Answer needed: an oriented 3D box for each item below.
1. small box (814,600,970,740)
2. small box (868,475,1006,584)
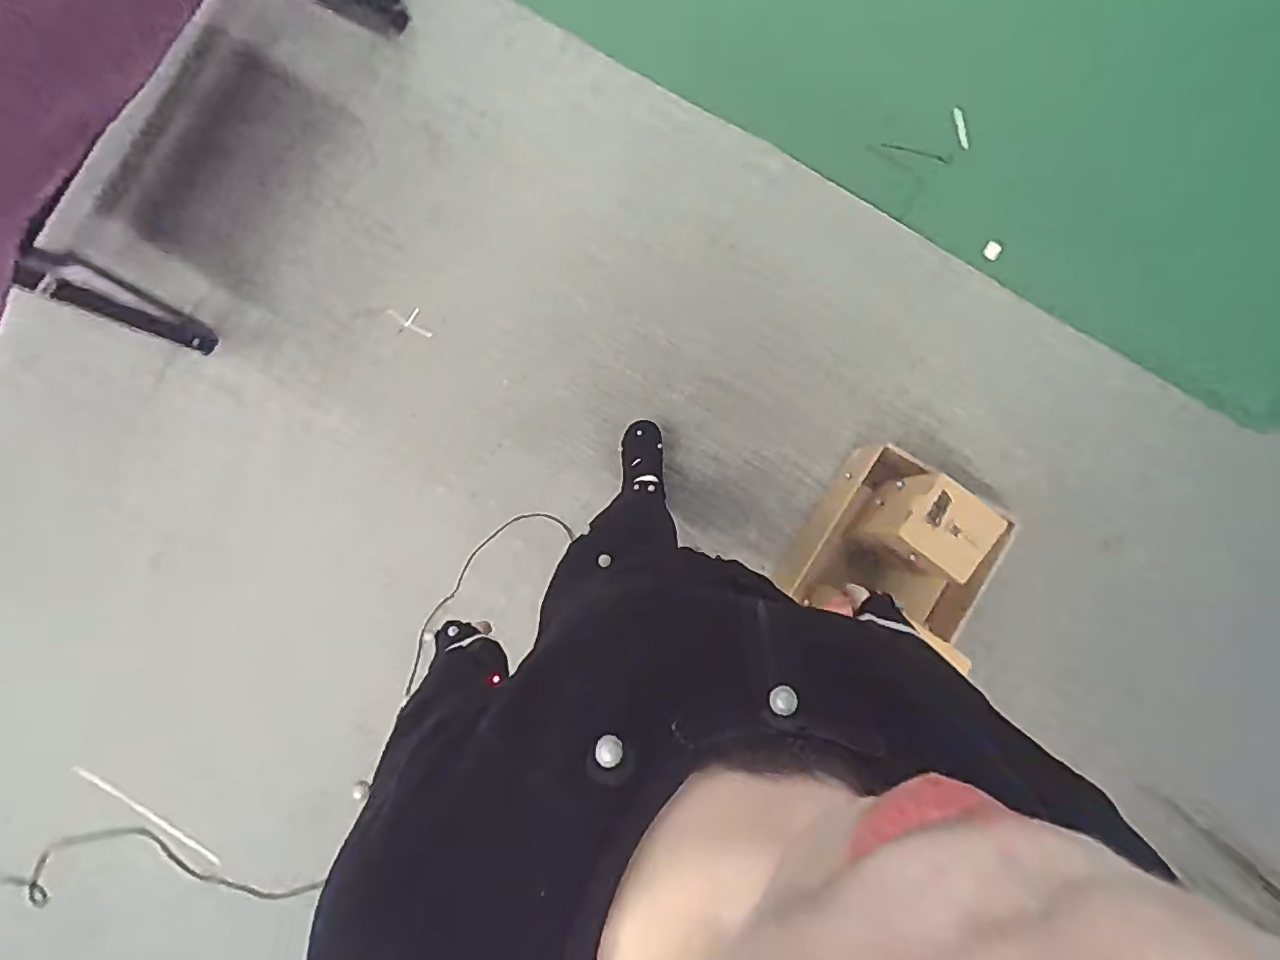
[{"bbox_3d":[0.470,0.348,1.036,0.179,0.176,0.168,35,87,3],"label":"small box"},{"bbox_3d":[0.651,0.110,1.209,0.179,0.176,0.168,38,88,2],"label":"small box"}]
